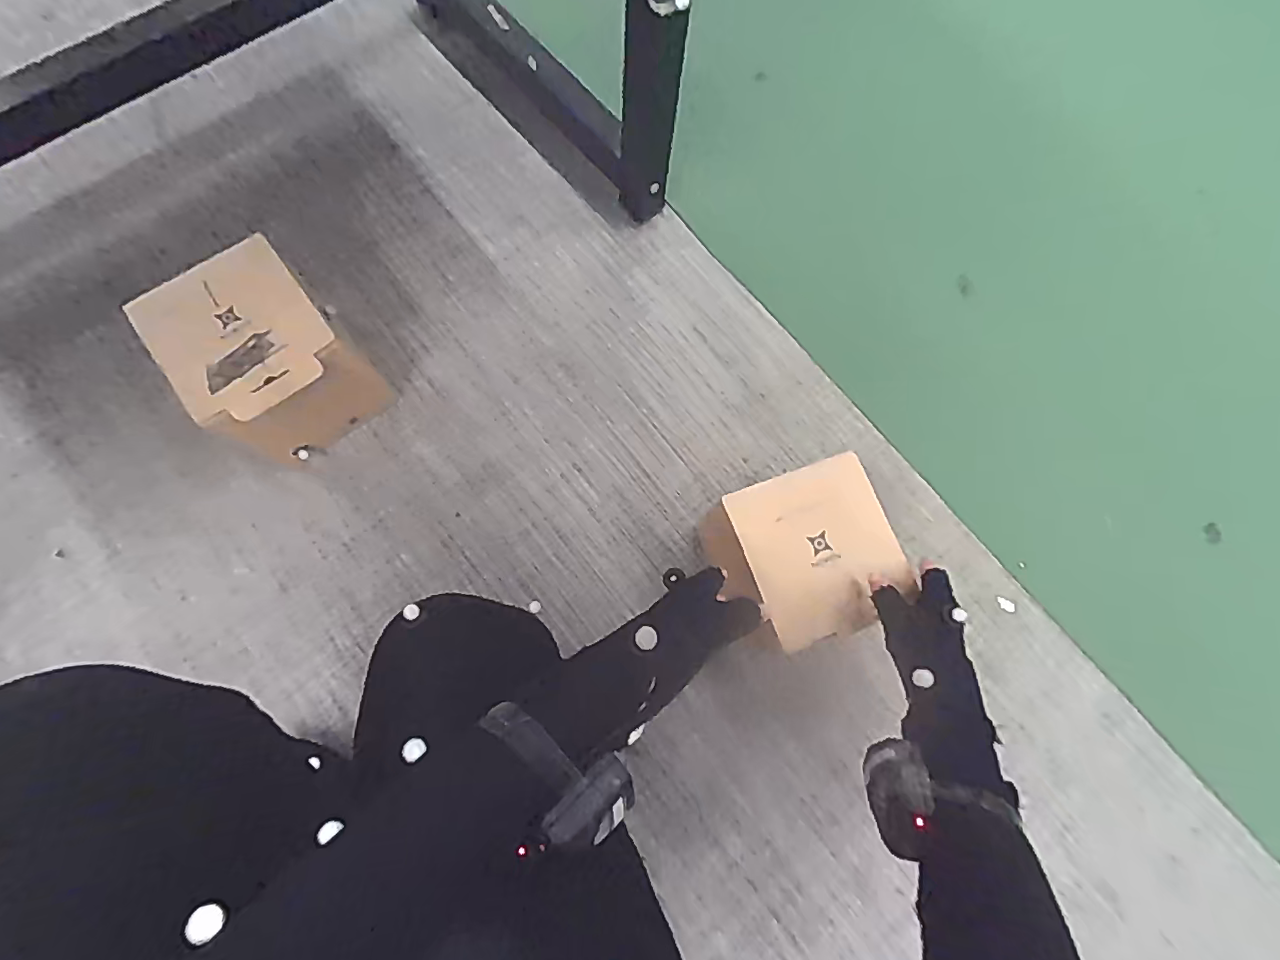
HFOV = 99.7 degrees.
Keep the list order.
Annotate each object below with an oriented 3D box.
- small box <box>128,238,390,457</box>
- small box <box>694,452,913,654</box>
[{"bbox_3d":[-0.448,-0.147,0.668,0.168,0.176,0.179,-37,80,-11],"label":"small box"},{"bbox_3d":[0.179,0.092,0.652,0.168,0.176,0.179,-20,76,-9],"label":"small box"}]
